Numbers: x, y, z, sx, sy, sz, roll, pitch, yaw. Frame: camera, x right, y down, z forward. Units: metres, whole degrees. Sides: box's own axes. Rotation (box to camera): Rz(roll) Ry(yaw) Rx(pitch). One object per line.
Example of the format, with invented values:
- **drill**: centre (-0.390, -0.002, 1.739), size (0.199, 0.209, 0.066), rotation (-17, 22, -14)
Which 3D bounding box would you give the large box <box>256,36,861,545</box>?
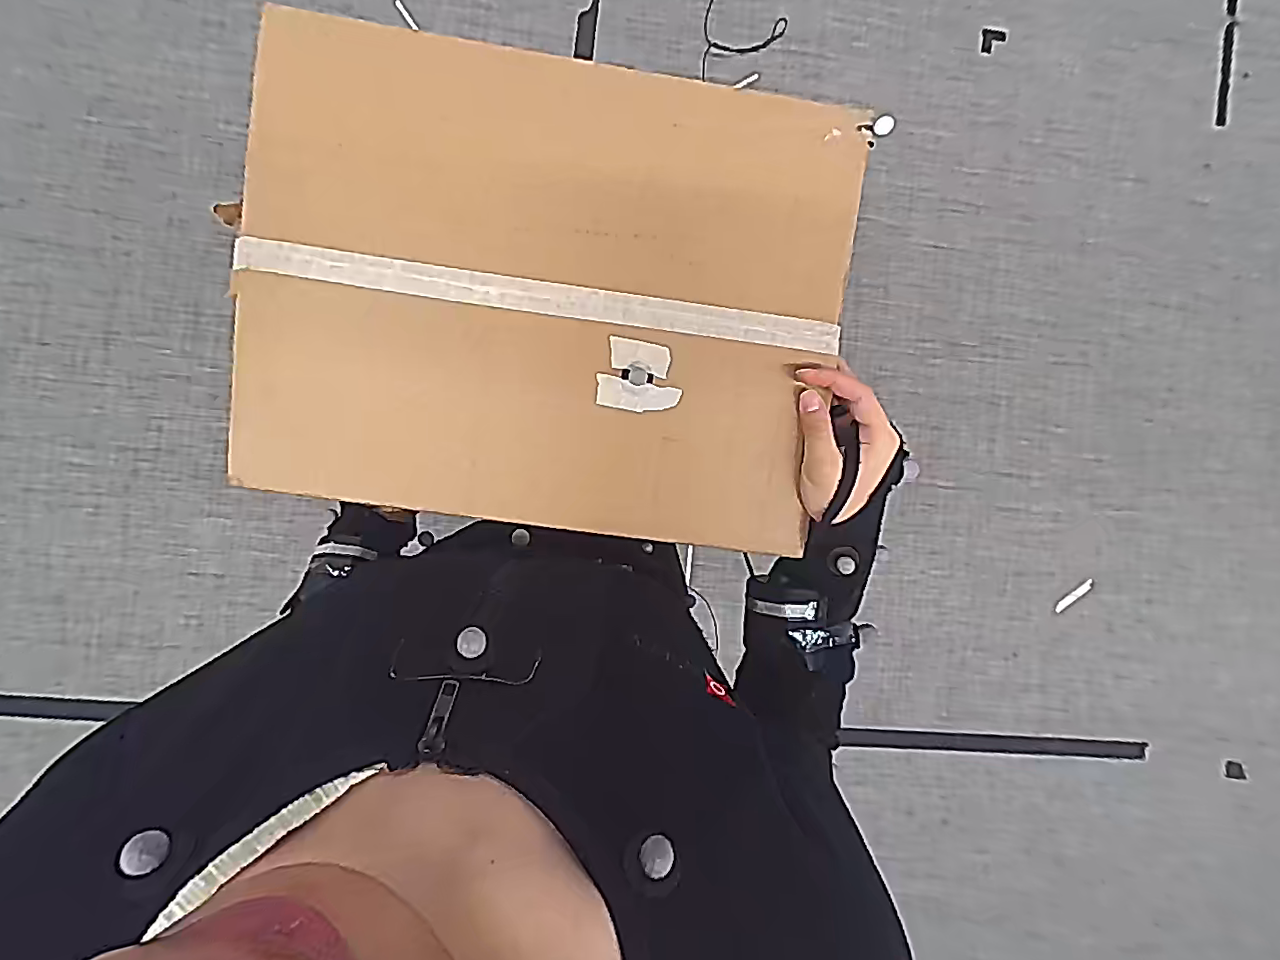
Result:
- **large box**: centre (-0.066, -0.134, 0.527), size (0.408, 0.320, 0.320), rotation (7, 95, -4)
